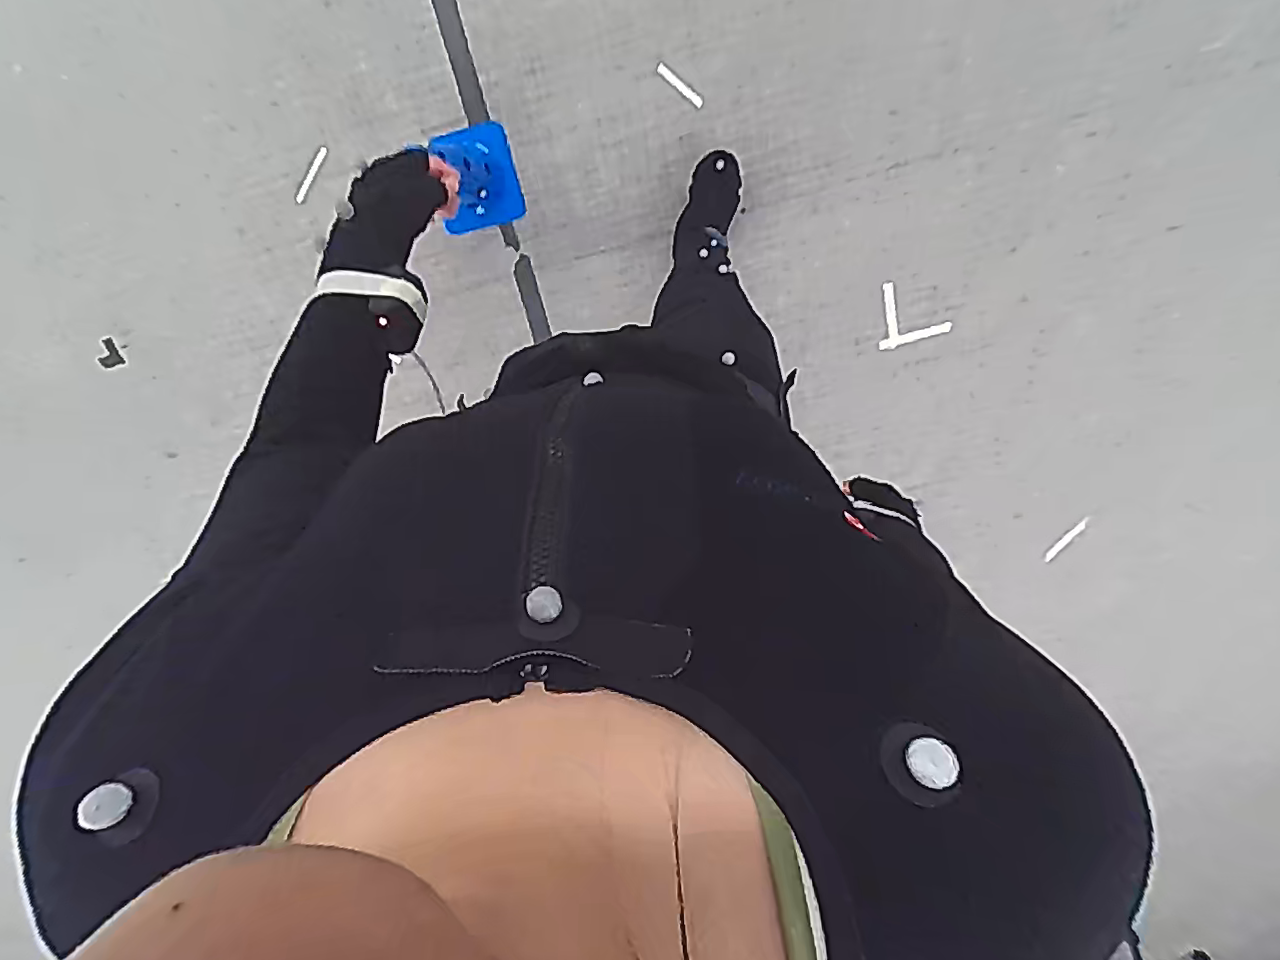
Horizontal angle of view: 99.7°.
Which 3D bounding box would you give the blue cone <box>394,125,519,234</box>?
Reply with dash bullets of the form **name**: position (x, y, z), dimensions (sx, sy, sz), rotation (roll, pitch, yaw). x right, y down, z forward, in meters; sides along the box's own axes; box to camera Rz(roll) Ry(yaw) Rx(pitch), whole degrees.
- **blue cone**: position (-0.384, -0.602, 1.066), dimensions (0.193, 0.380, 0.192), rotation (-13, 113, 7)
